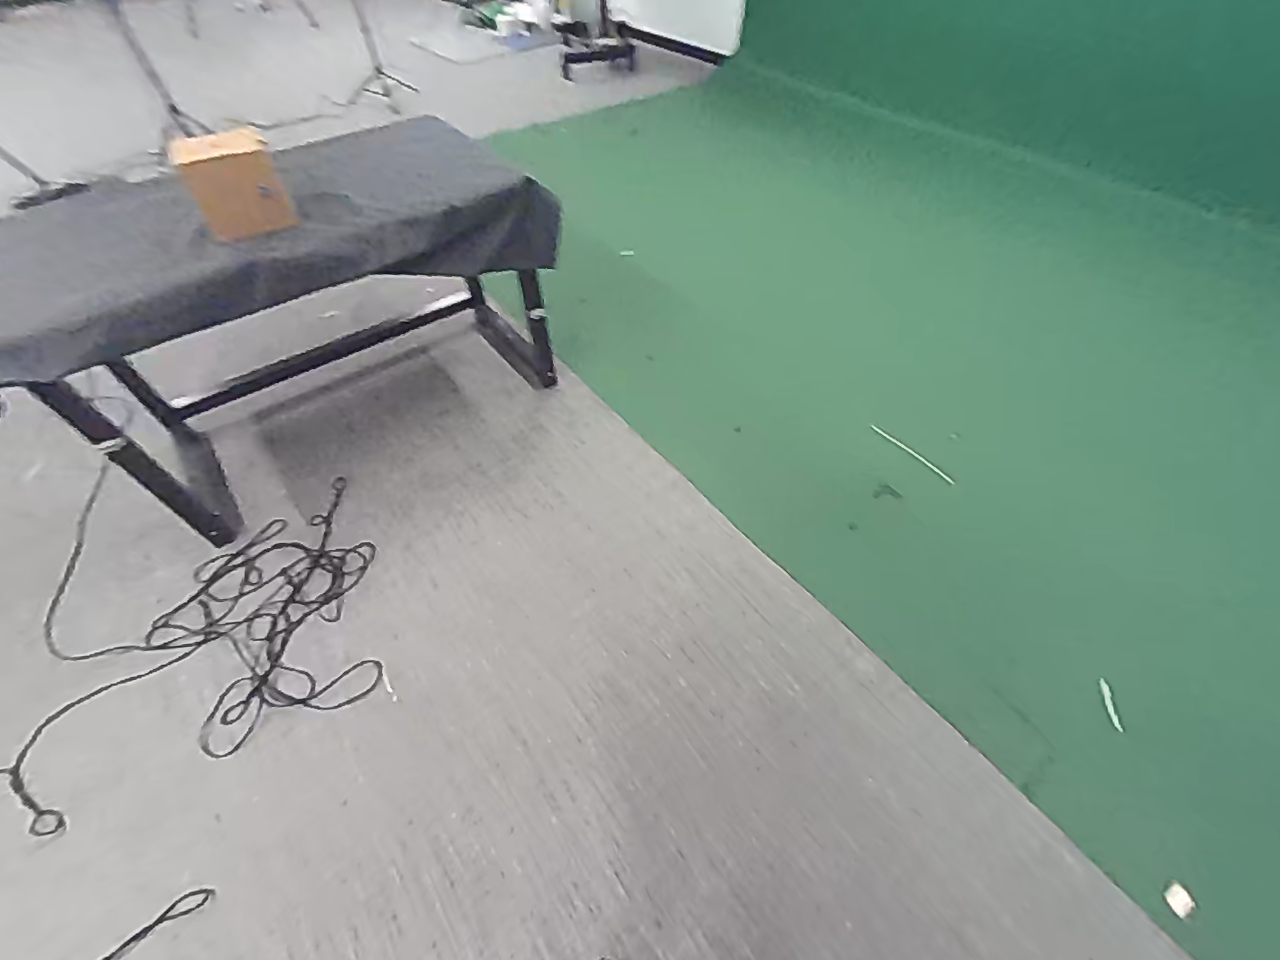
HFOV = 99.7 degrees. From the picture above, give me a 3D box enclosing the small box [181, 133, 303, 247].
[{"bbox_3d":[-0.915,-0.673,1.256,0.179,0.176,0.168,-25,53,-17],"label":"small box"}]
